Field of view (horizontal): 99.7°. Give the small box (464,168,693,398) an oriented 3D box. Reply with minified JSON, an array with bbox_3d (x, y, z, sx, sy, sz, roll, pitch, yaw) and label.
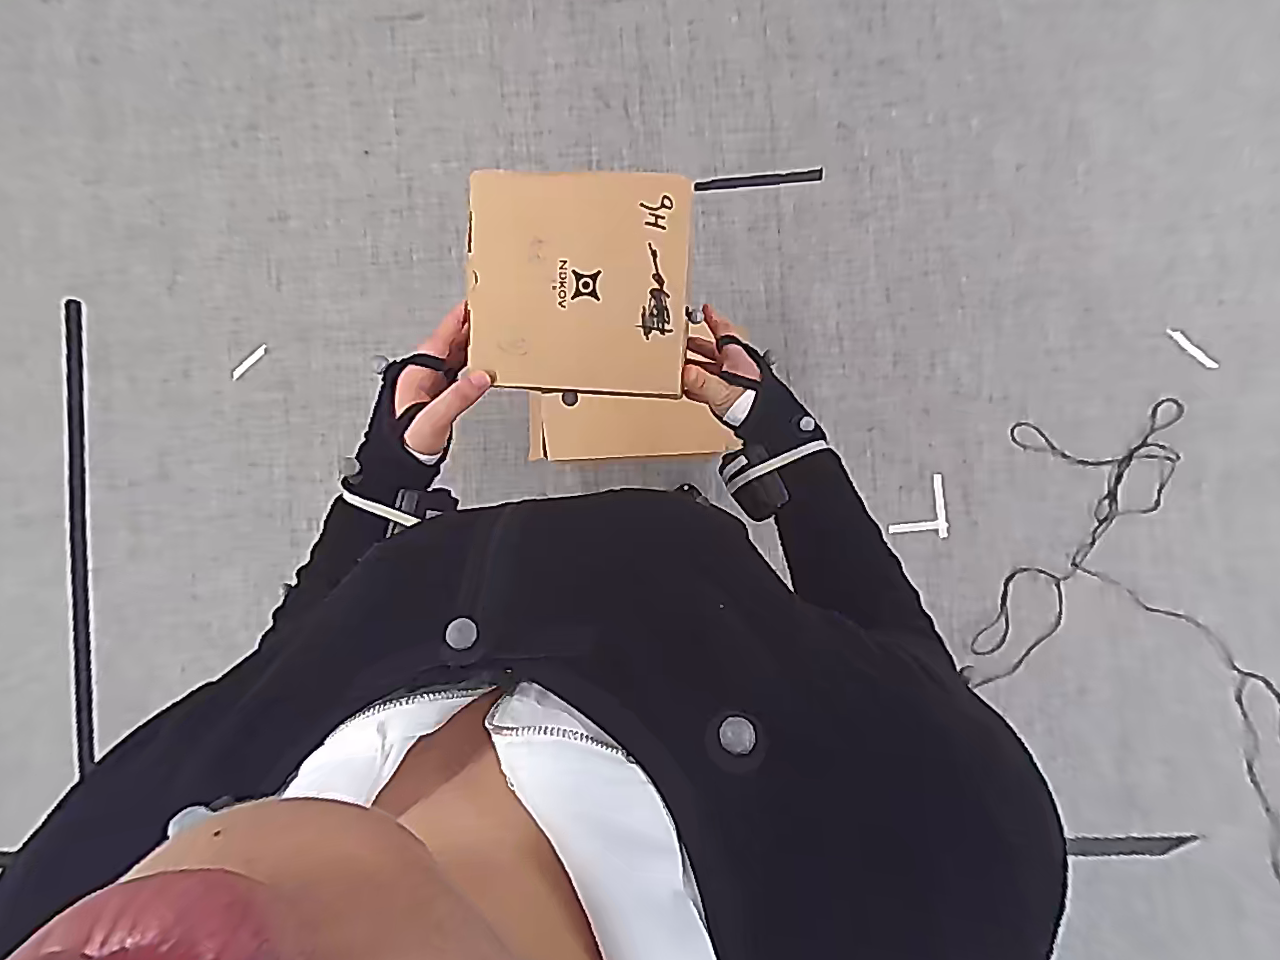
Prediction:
[{"bbox_3d":[-0.045,-0.166,0.503,0.179,0.176,0.168,4,98,5],"label":"small box"}]
